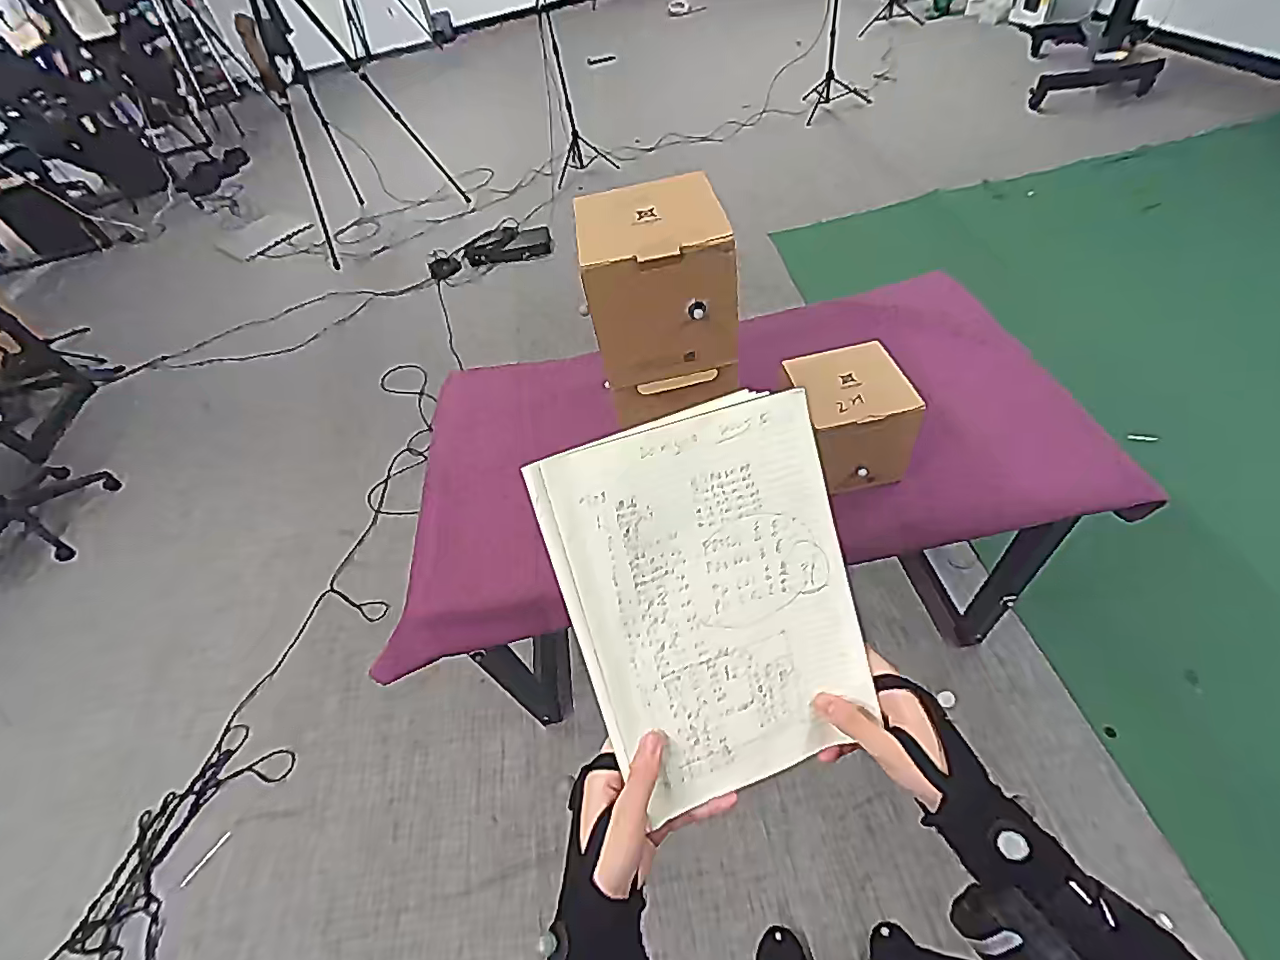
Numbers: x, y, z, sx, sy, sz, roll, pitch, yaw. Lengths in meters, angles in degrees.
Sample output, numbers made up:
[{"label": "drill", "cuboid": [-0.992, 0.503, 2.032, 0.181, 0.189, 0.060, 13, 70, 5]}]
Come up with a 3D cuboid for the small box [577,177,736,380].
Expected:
[{"label": "small box", "cuboid": [0.023, -0.242, 0.675, 0.168, 0.176, 0.179, -10, 49, 2]}]

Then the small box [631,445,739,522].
[{"label": "small box", "cuboid": [0.073, -0.044, 0.932, 0.168, 0.176, 0.179, -11, 50, 2]}]

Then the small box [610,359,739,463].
[{"label": "small box", "cuboid": [0.048, -0.143, 0.803, 0.168, 0.176, 0.179, -11, 49, 2]}]
